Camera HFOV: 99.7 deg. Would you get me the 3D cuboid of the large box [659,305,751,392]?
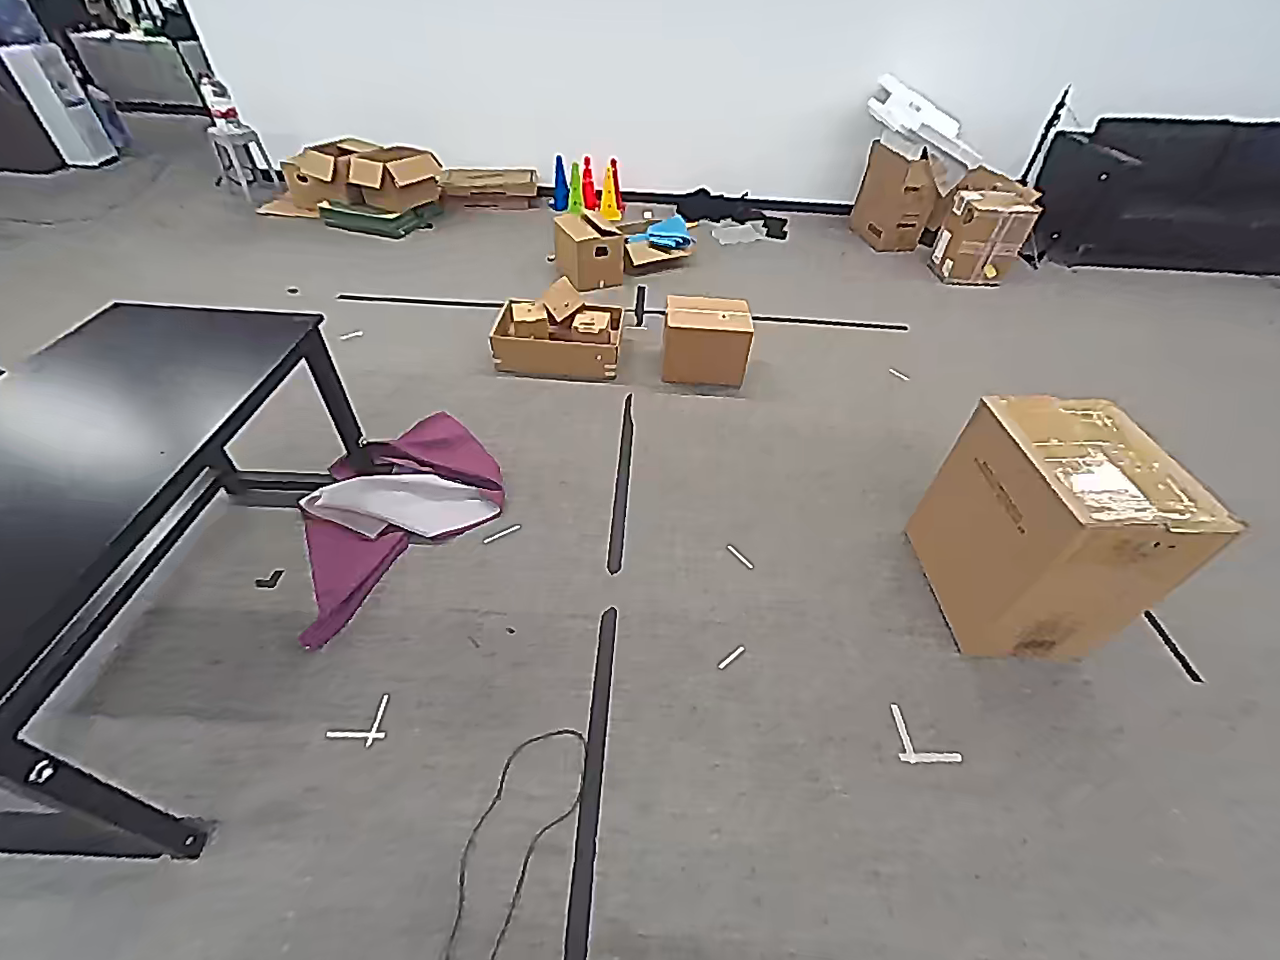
[{"bbox_3d":[0.309,-0.658,2.712,0.408,0.320,0.320,3,44,-2],"label":"large box"}]
